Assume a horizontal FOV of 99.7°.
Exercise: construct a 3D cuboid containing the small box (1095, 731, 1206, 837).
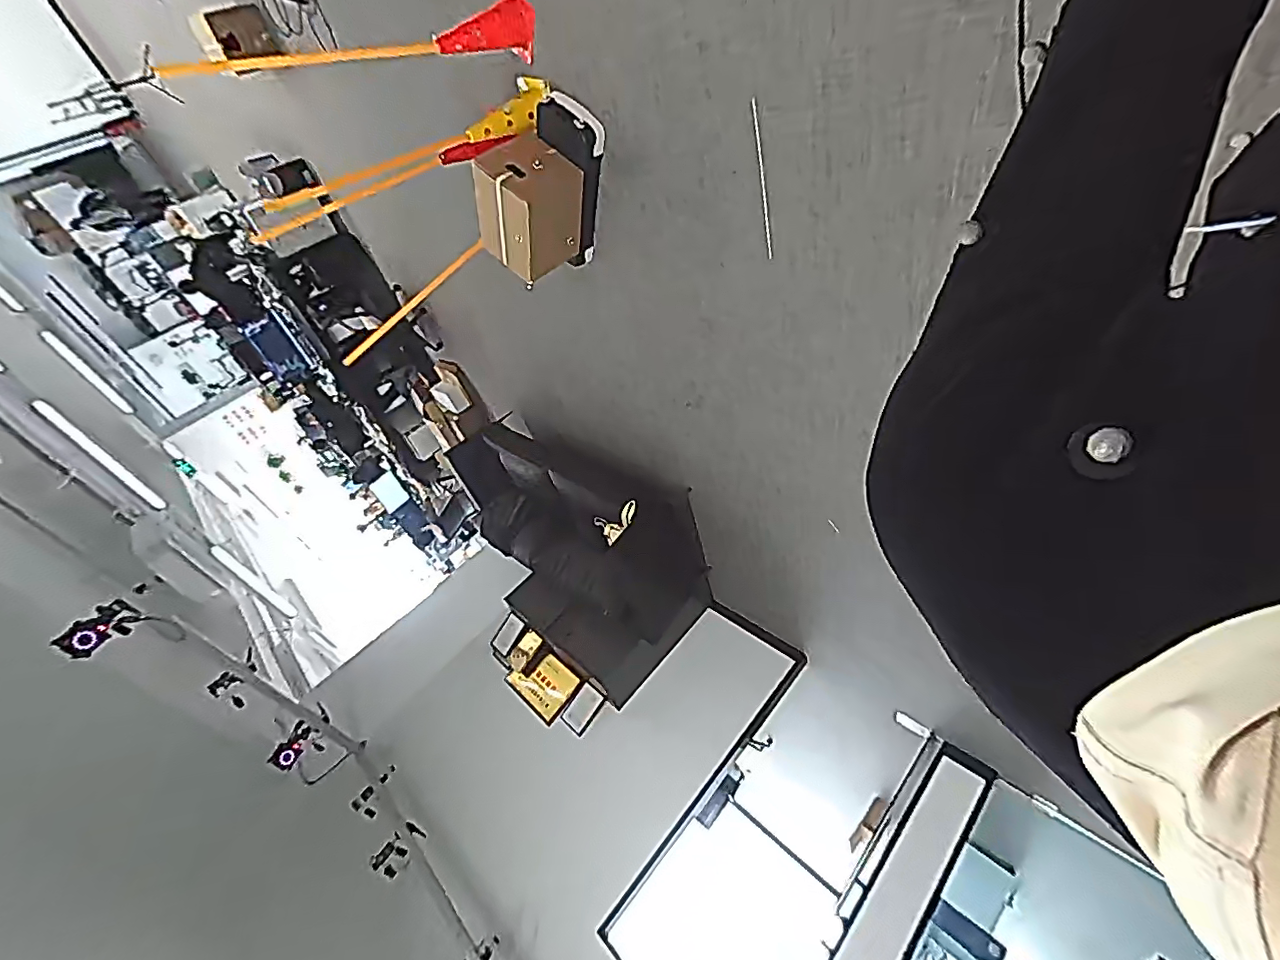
[{"bbox_3d":[1.437,0.852,1.522,0.168,0.176,0.179,29,148,38],"label":"small box"}]
